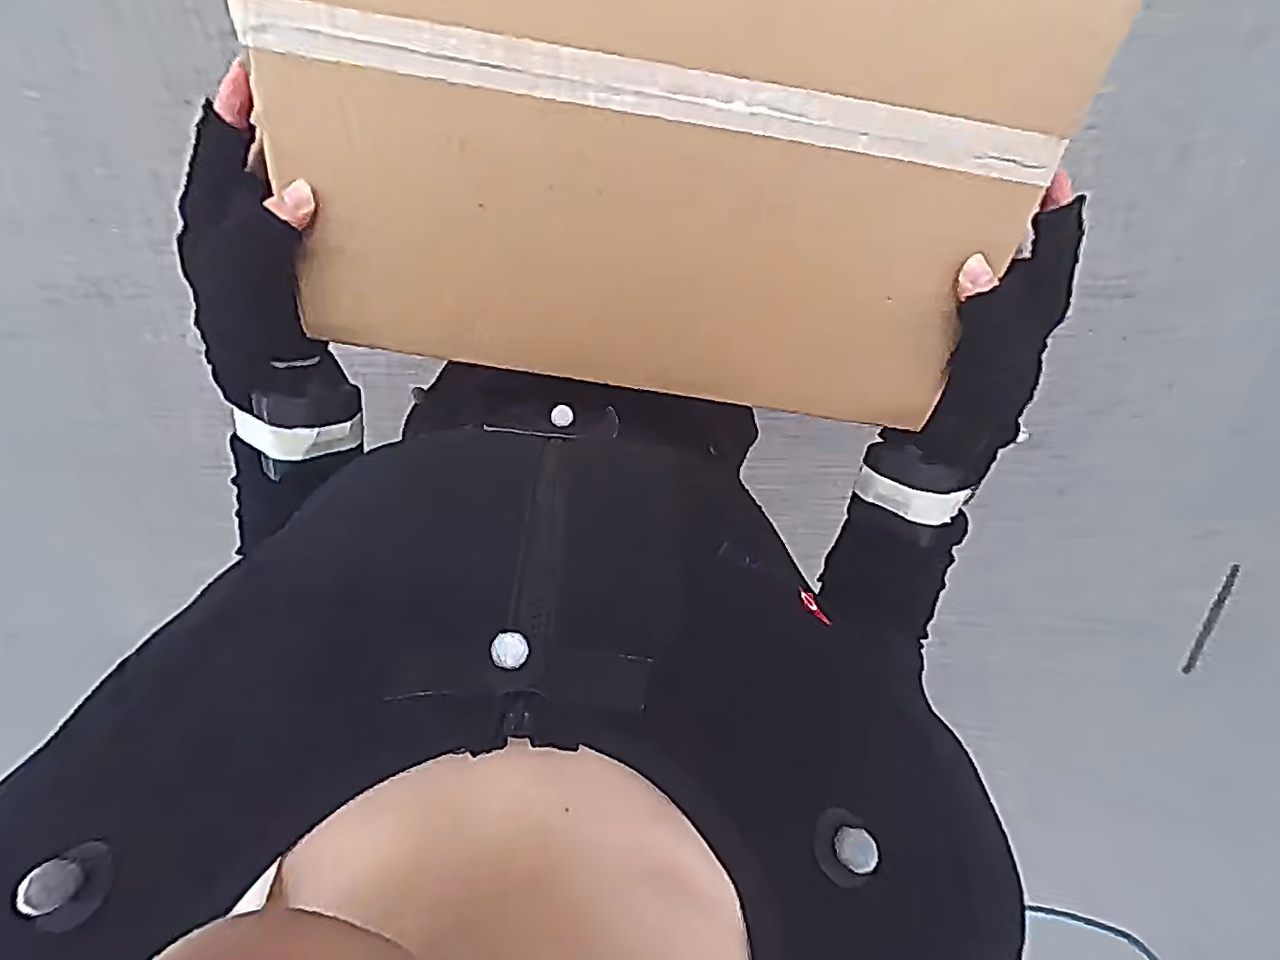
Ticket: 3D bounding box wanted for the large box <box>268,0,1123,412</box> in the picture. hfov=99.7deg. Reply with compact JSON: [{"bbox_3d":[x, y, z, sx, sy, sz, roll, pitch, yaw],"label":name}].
[{"bbox_3d":[0.019,-0.279,0.396,0.408,0.320,0.320,8,126,-3],"label":"large box"}]
